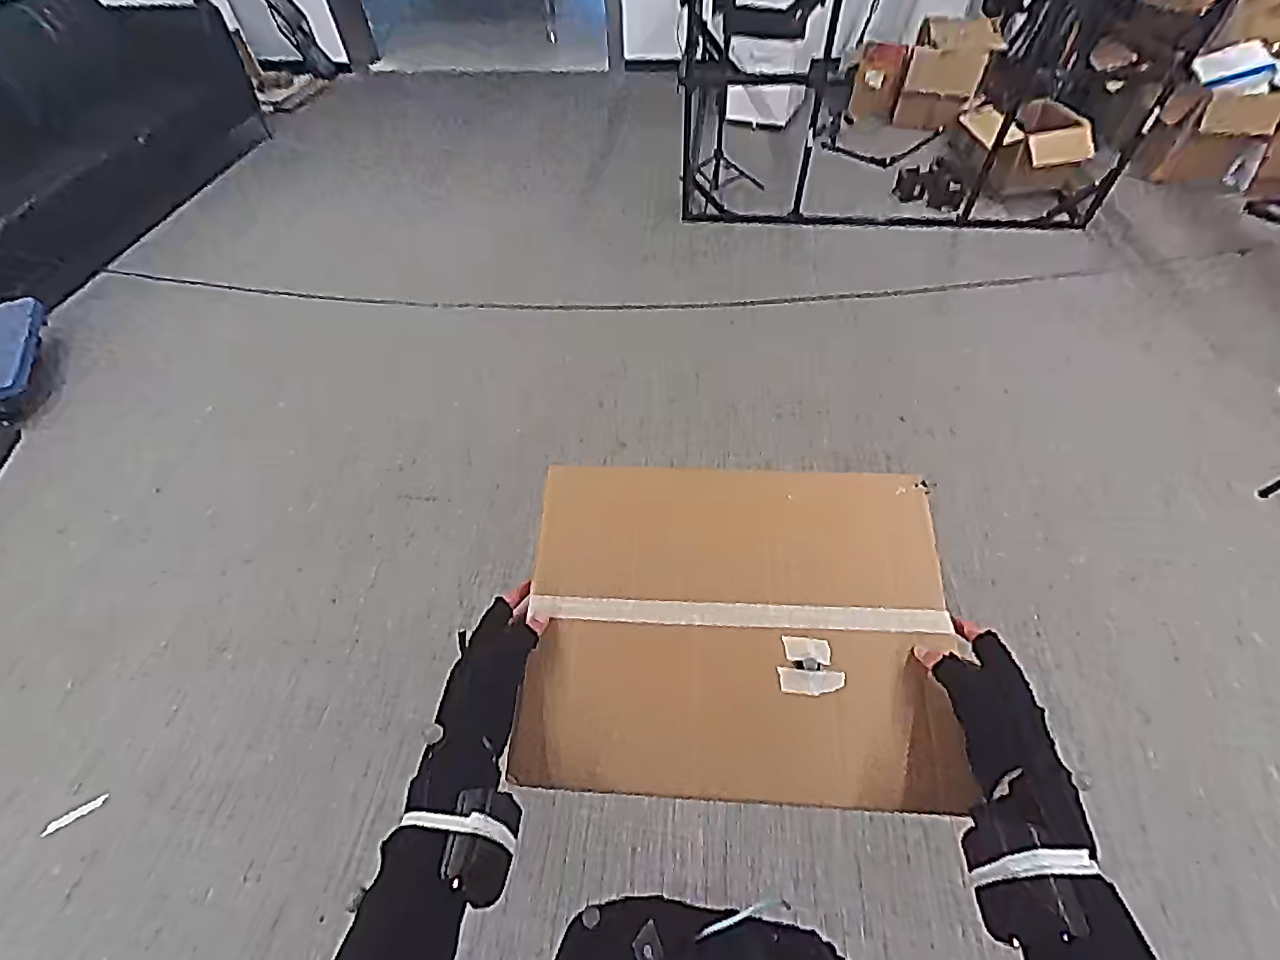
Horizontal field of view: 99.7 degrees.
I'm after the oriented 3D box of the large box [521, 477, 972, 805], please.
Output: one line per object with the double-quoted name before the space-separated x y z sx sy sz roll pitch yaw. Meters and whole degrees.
"large box" 0.100 0.202 0.671 0.408 0.320 0.320 2 65 4
